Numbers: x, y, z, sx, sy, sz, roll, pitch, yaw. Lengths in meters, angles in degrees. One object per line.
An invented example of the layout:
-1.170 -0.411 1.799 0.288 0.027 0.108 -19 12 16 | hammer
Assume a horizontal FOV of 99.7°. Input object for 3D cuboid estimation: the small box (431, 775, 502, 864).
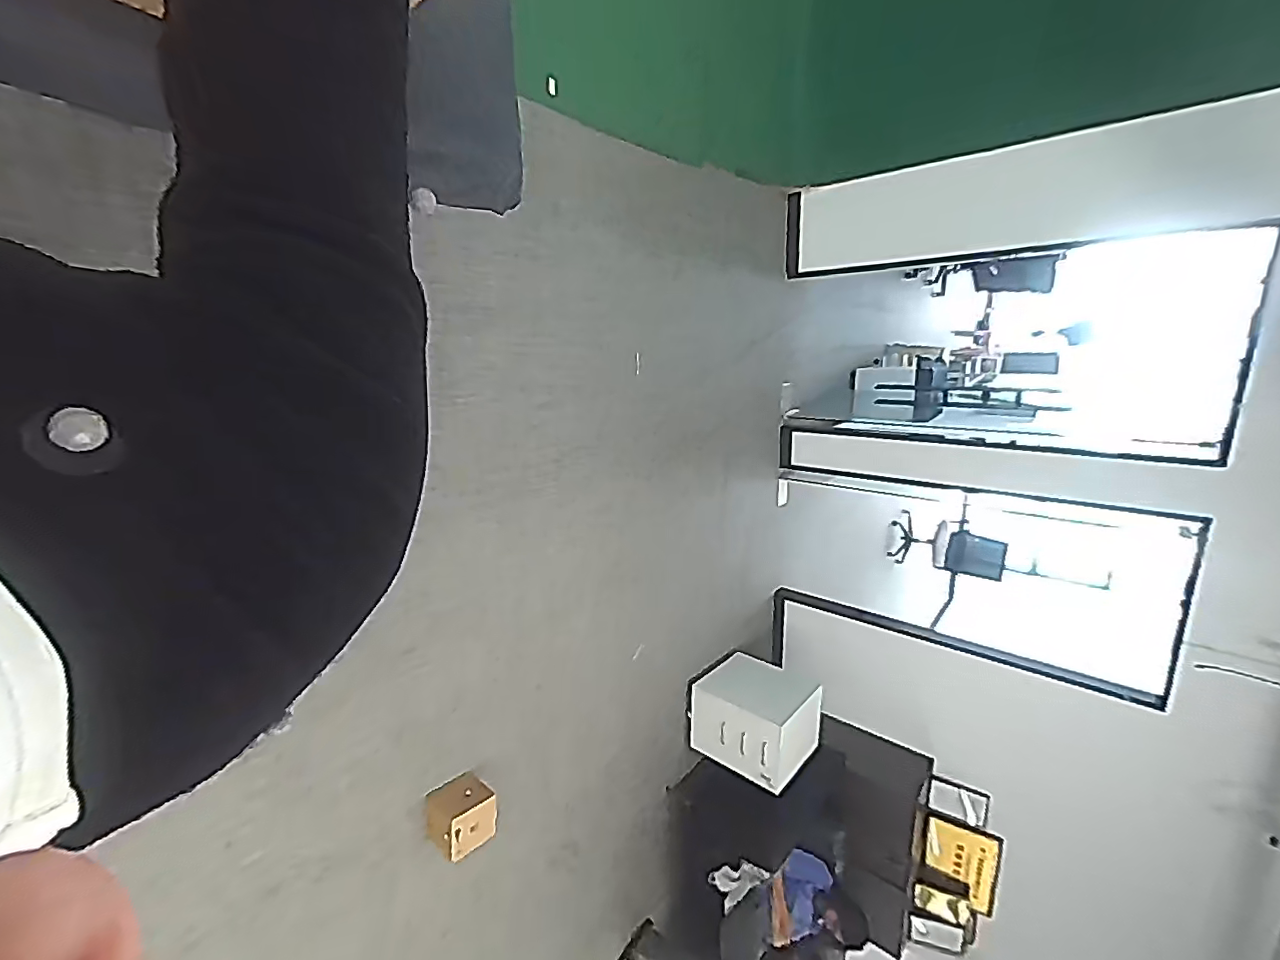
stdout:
-0.609 1.180 1.897 0.179 0.176 0.168 -8 104 -50 | small box
